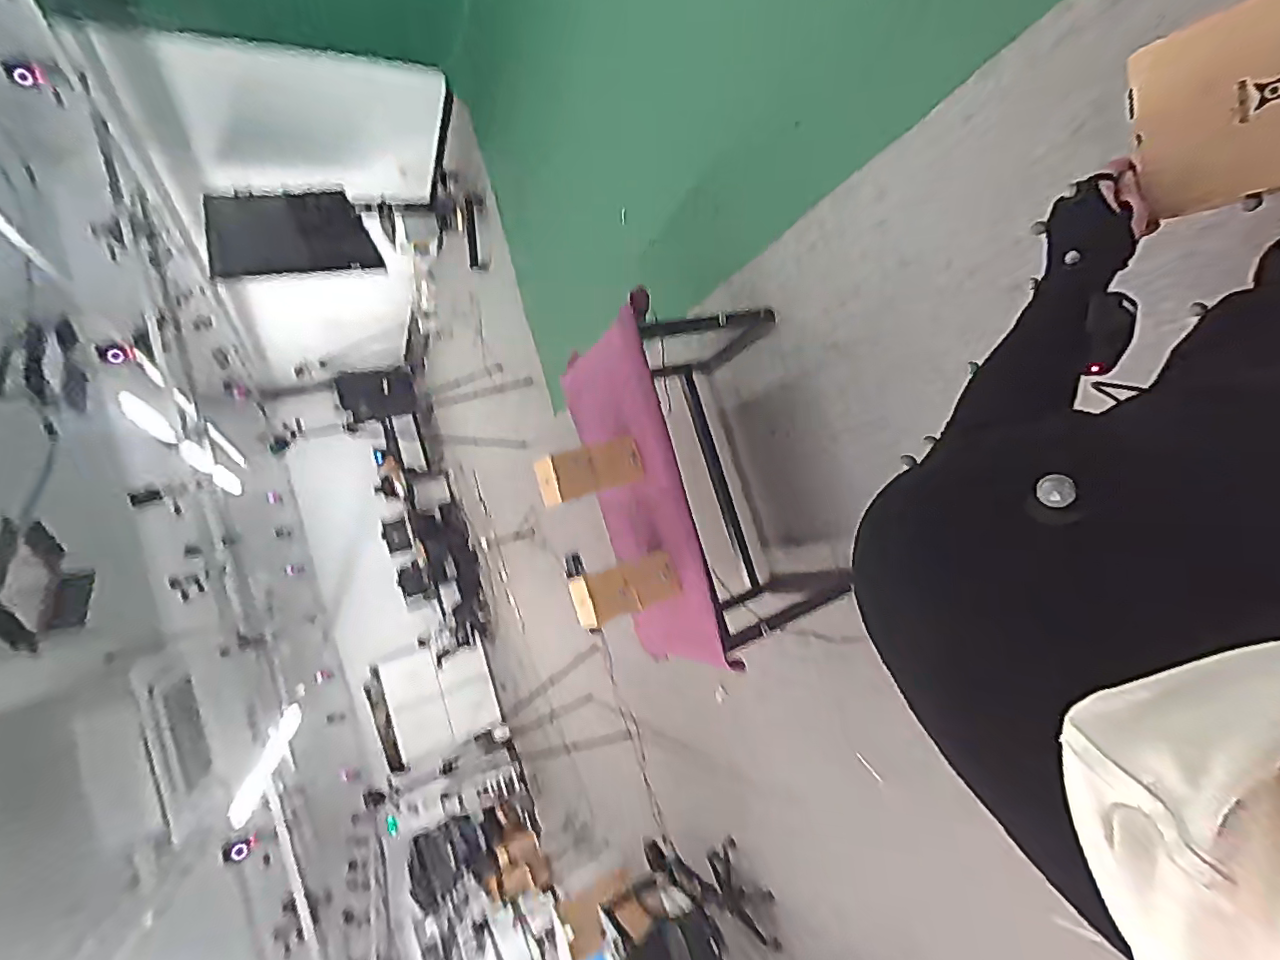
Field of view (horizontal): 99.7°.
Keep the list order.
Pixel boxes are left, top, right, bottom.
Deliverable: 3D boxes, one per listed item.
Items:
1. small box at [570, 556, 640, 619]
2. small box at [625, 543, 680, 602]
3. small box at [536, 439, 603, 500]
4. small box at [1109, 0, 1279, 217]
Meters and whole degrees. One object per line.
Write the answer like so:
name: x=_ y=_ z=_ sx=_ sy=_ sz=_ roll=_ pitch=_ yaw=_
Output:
small box: x=-0.122 y=0.372 z=1.872 sx=0.179 sy=0.176 sz=0.168 roll=-34 pitch=73 yaw=60
small box: x=0.019 y=0.336 z=1.946 sx=0.179 sy=0.176 sz=0.168 roll=-30 pitch=78 yaw=61
small box: x=-0.242 y=-0.037 z=1.887 sx=0.179 sy=0.176 sz=0.168 roll=-16 pitch=89 yaw=62
small box: x=0.604 y=-0.374 z=0.527 sx=0.179 sy=0.176 sz=0.168 roll=3 pitch=110 yaw=58
